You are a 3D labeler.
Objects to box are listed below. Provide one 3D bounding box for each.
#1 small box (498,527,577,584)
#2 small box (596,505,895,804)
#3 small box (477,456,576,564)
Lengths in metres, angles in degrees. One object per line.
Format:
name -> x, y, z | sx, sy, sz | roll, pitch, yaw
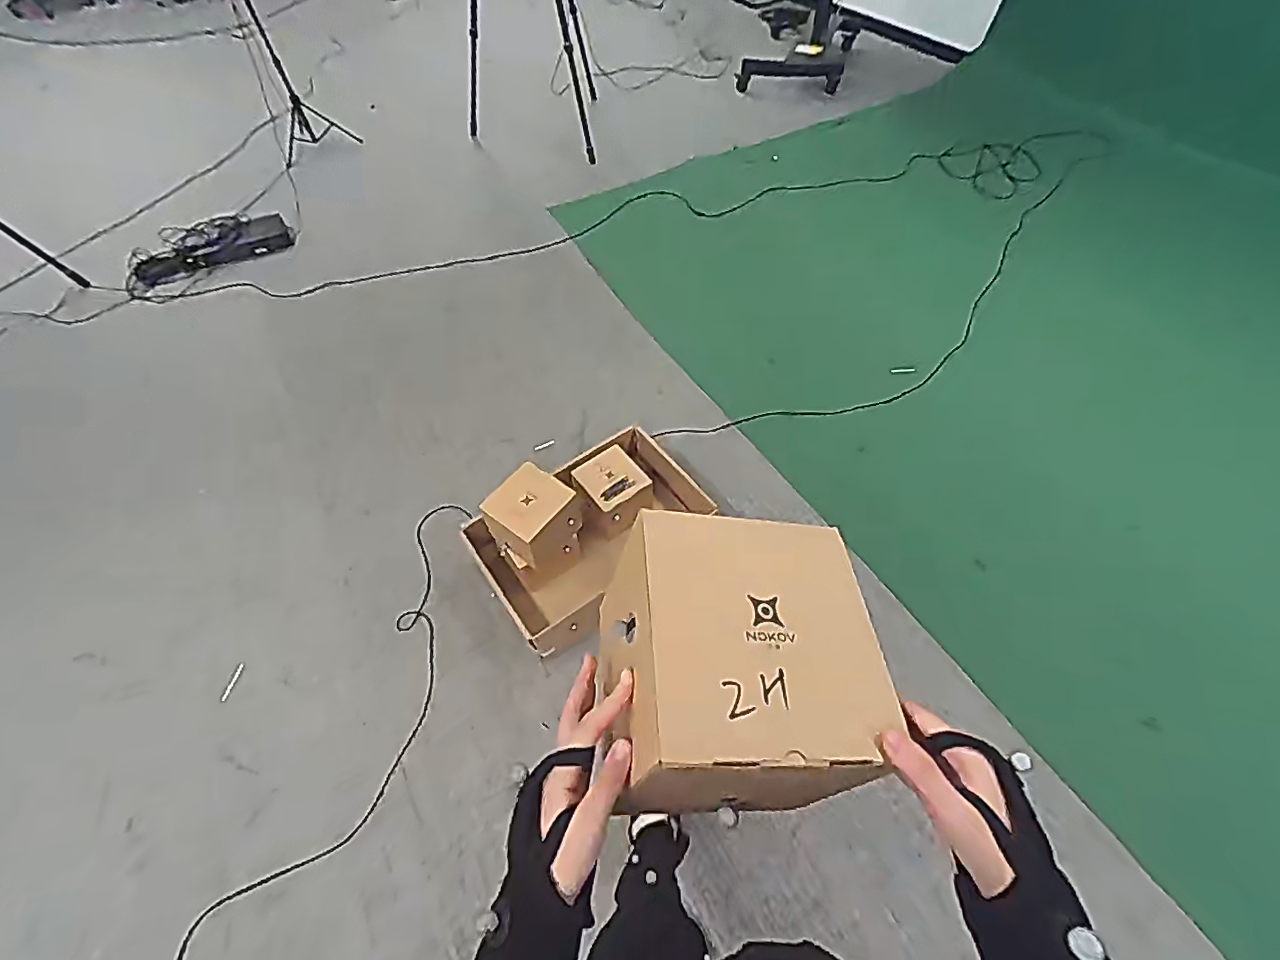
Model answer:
small box -> -0.292, 0.160, 1.509 | 0.179, 0.176, 0.168 | -32, 63, -19
small box -> 0.058, 0.144, 0.431 | 0.168, 0.176, 0.179 | 6, 51, -12
small box -> -0.277, 0.079, 1.368 | 0.168, 0.176, 0.179 | 32, 63, 19
